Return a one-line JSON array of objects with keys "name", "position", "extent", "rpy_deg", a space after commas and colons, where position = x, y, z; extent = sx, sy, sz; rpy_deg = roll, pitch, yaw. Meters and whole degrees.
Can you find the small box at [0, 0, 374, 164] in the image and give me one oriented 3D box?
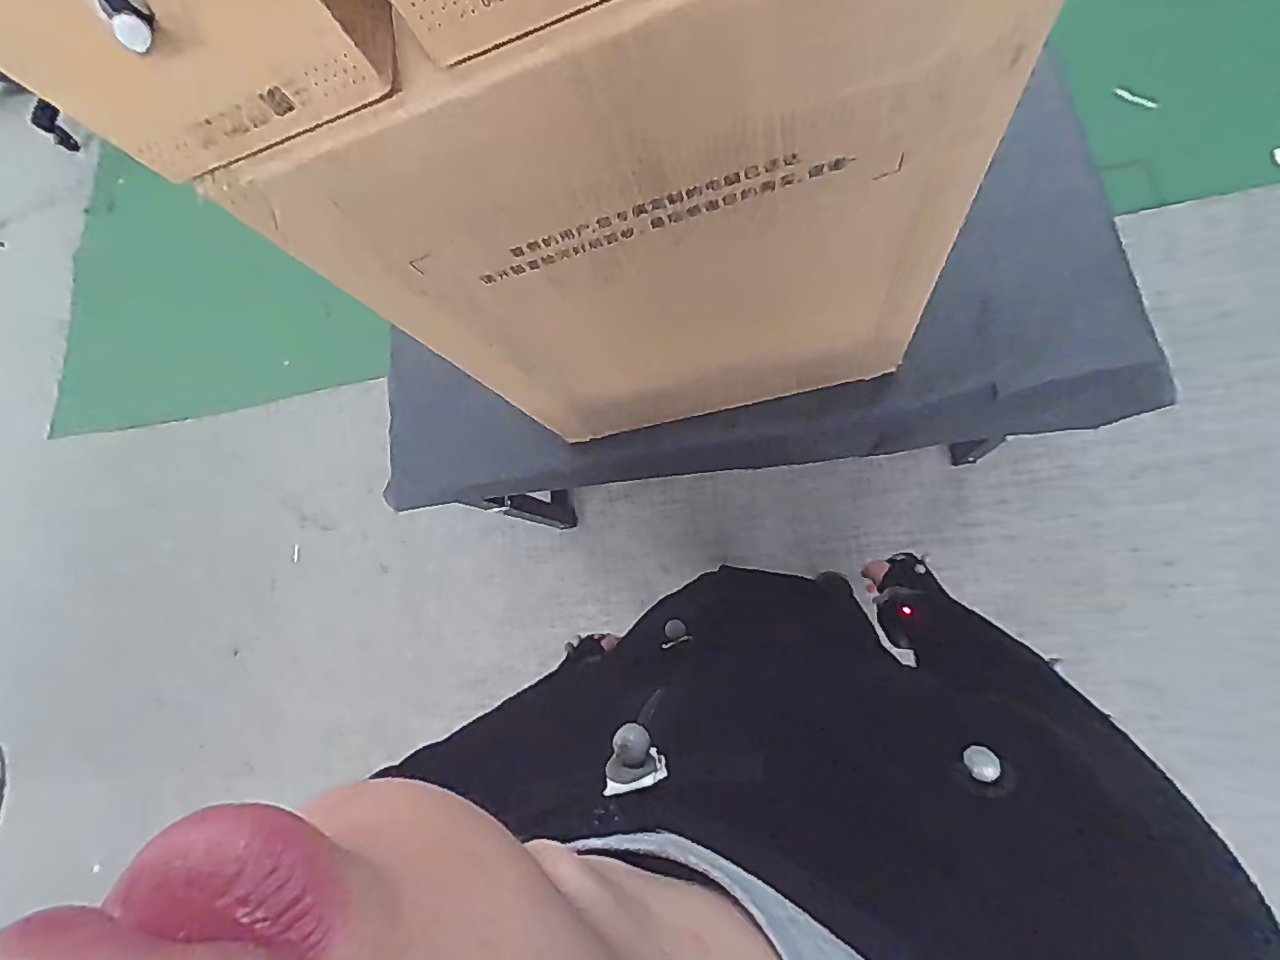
[{"name": "small box", "position": [-0.256, -0.294, 0.265], "extent": [0.168, 0.176, 0.179], "rpy_deg": [-11, 77, 15]}]
